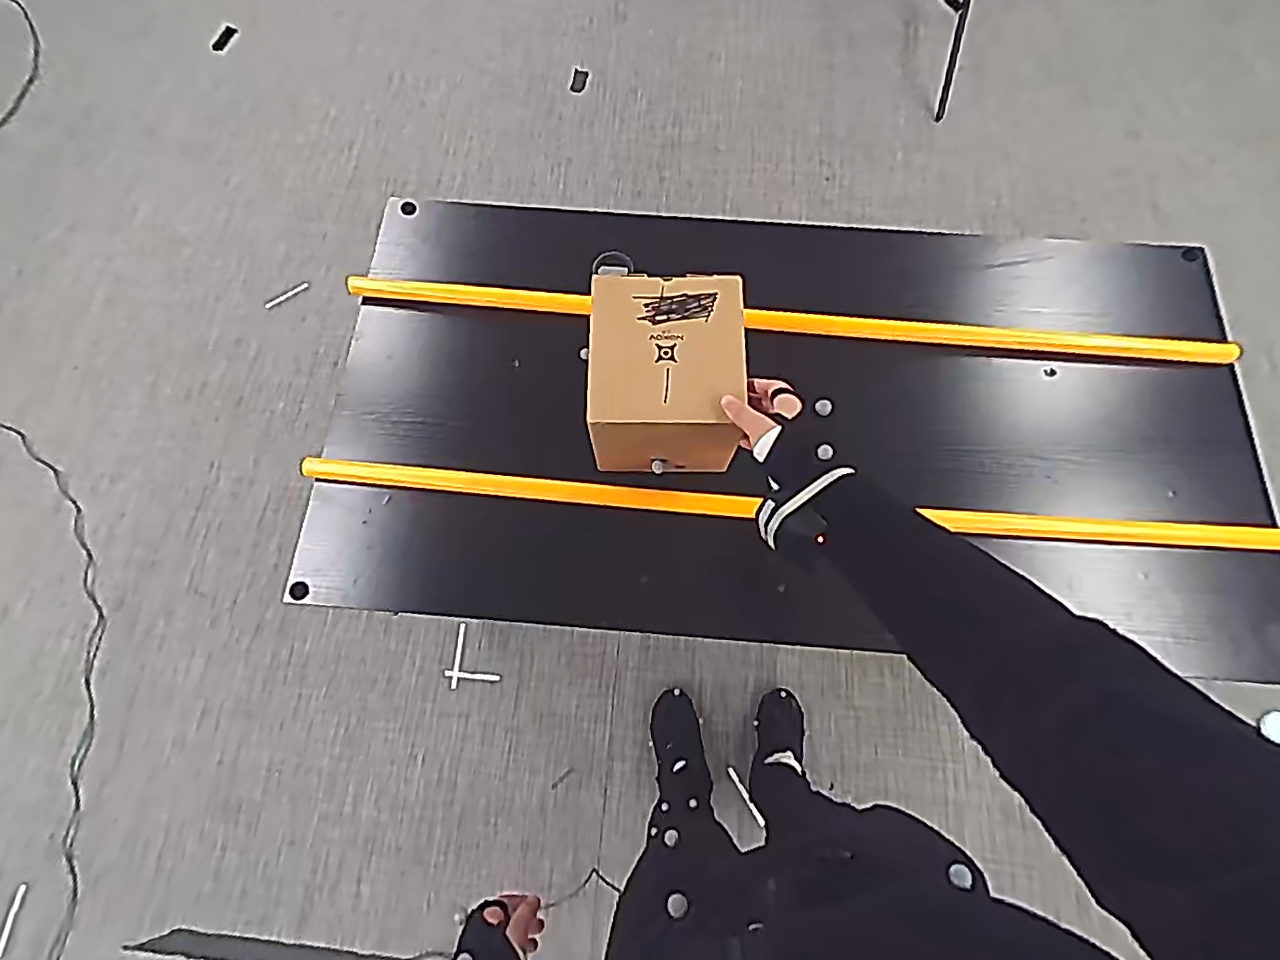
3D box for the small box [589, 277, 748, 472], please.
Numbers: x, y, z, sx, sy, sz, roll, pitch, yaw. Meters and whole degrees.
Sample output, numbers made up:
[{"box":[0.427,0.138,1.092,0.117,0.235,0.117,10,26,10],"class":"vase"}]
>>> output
[{"box":[0.030,-0.119,0.651,0.168,0.176,0.179,0,74,1],"class":"small box"}]
